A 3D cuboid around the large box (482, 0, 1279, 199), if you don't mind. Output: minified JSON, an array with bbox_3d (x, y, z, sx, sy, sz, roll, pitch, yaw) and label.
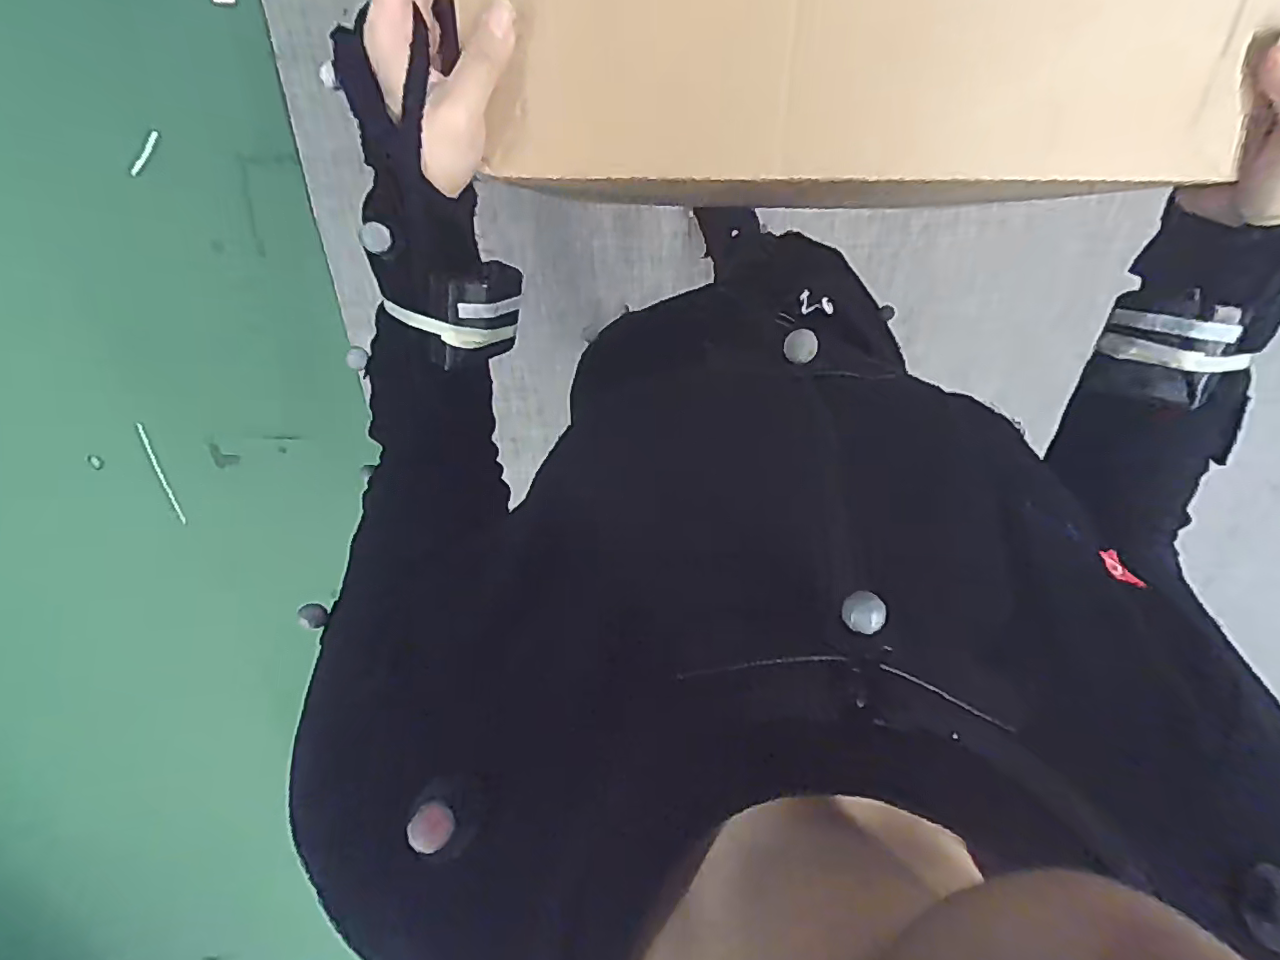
[{"bbox_3d":[0.119,-0.378,0.368,0.408,0.320,0.320,1,115,2],"label":"large box"}]
